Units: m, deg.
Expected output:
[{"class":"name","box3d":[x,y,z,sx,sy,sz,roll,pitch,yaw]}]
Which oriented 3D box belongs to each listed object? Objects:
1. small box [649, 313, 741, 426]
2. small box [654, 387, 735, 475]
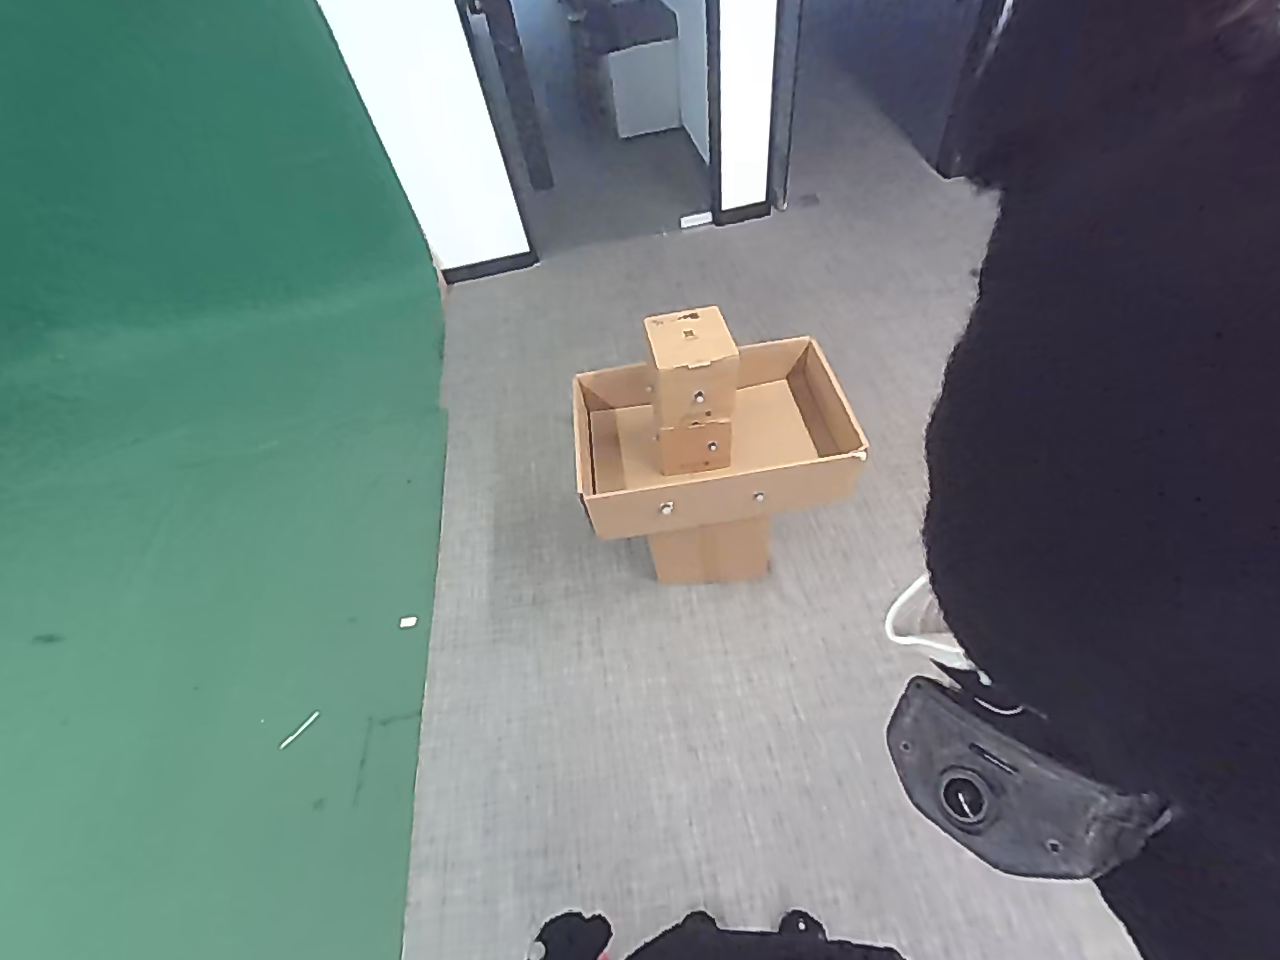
[{"class":"small box","box3d":[0.117,-0.234,1.180,0.168,0.176,0.179,-9,52,-2]},{"class":"small box","box3d":[0.129,-0.126,1.303,0.168,0.176,0.179,-8,50,-1]}]
